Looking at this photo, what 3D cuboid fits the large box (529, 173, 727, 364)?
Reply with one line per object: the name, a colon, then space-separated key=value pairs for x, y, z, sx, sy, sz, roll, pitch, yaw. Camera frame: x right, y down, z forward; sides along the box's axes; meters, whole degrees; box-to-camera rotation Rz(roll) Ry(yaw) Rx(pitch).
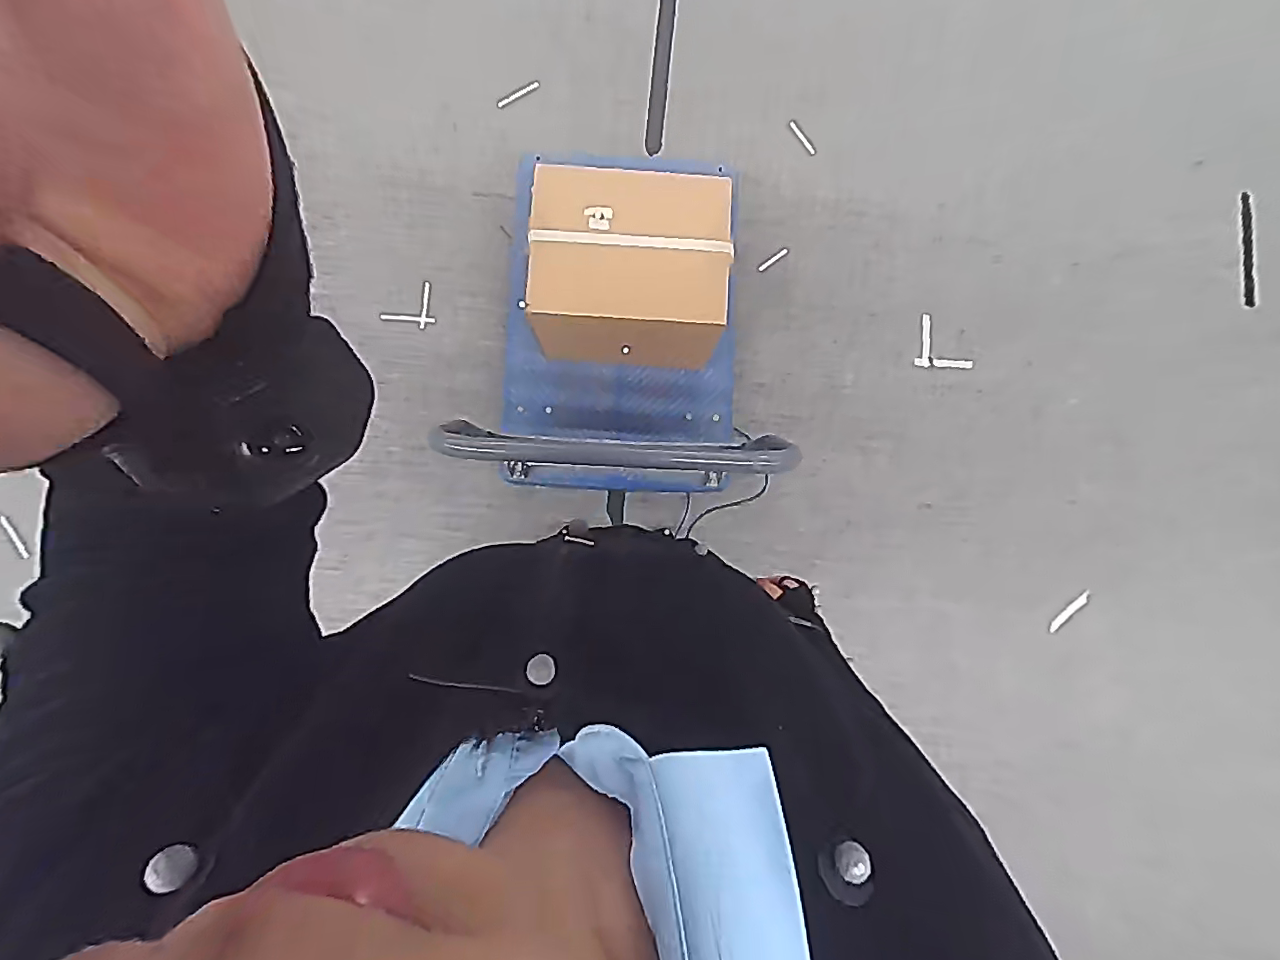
large box: x=-0.022 y=-0.466 z=1.256 sx=0.408 sy=0.320 sz=0.320 roll=3 pitch=84 yaw=-1
